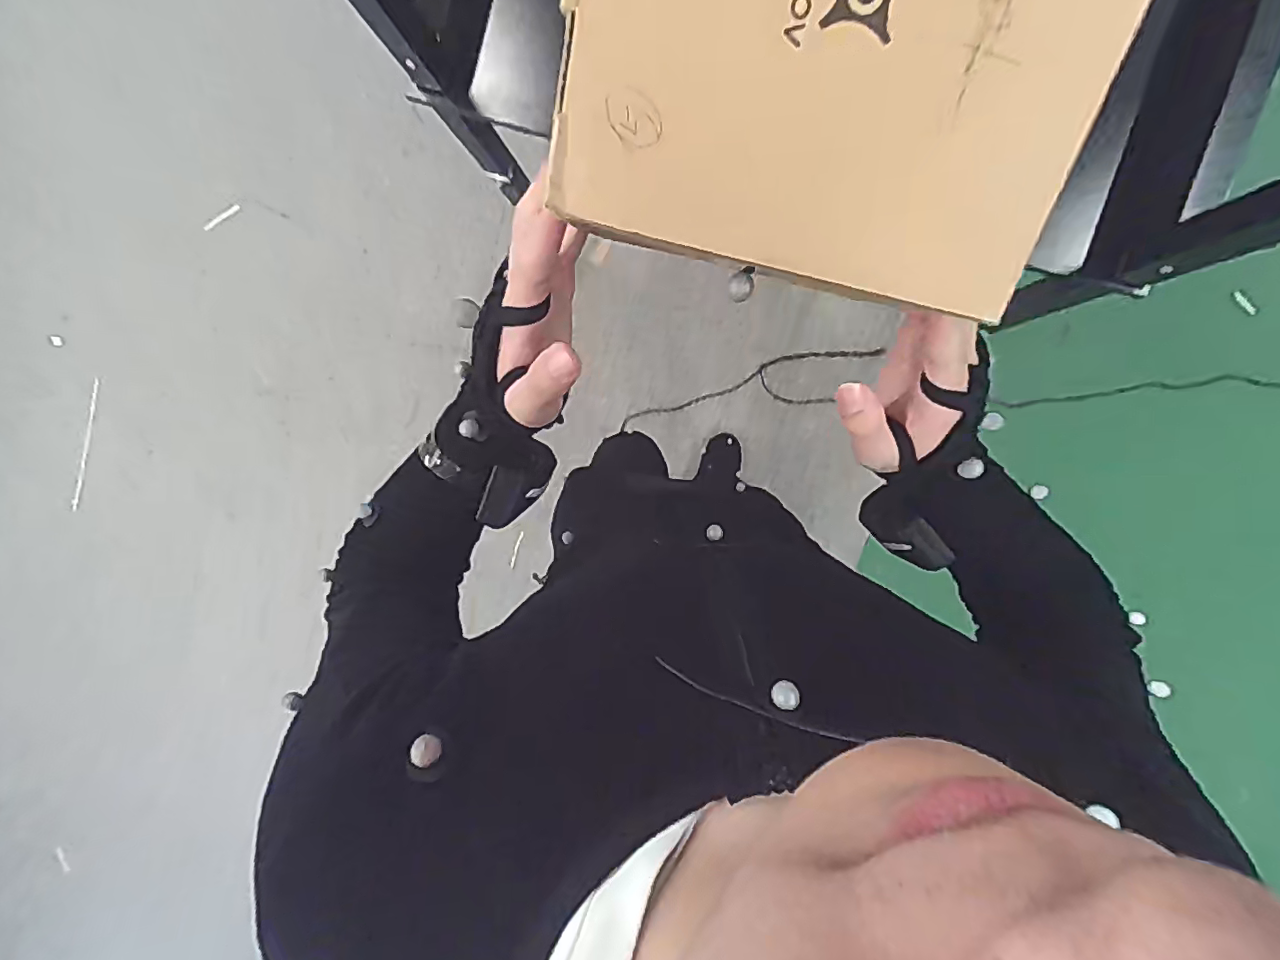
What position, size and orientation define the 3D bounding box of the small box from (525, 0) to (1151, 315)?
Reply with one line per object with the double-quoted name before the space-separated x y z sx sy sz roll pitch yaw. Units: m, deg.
"small box" 0.068 -0.180 0.233 0.179 0.176 0.168 14 113 -1
